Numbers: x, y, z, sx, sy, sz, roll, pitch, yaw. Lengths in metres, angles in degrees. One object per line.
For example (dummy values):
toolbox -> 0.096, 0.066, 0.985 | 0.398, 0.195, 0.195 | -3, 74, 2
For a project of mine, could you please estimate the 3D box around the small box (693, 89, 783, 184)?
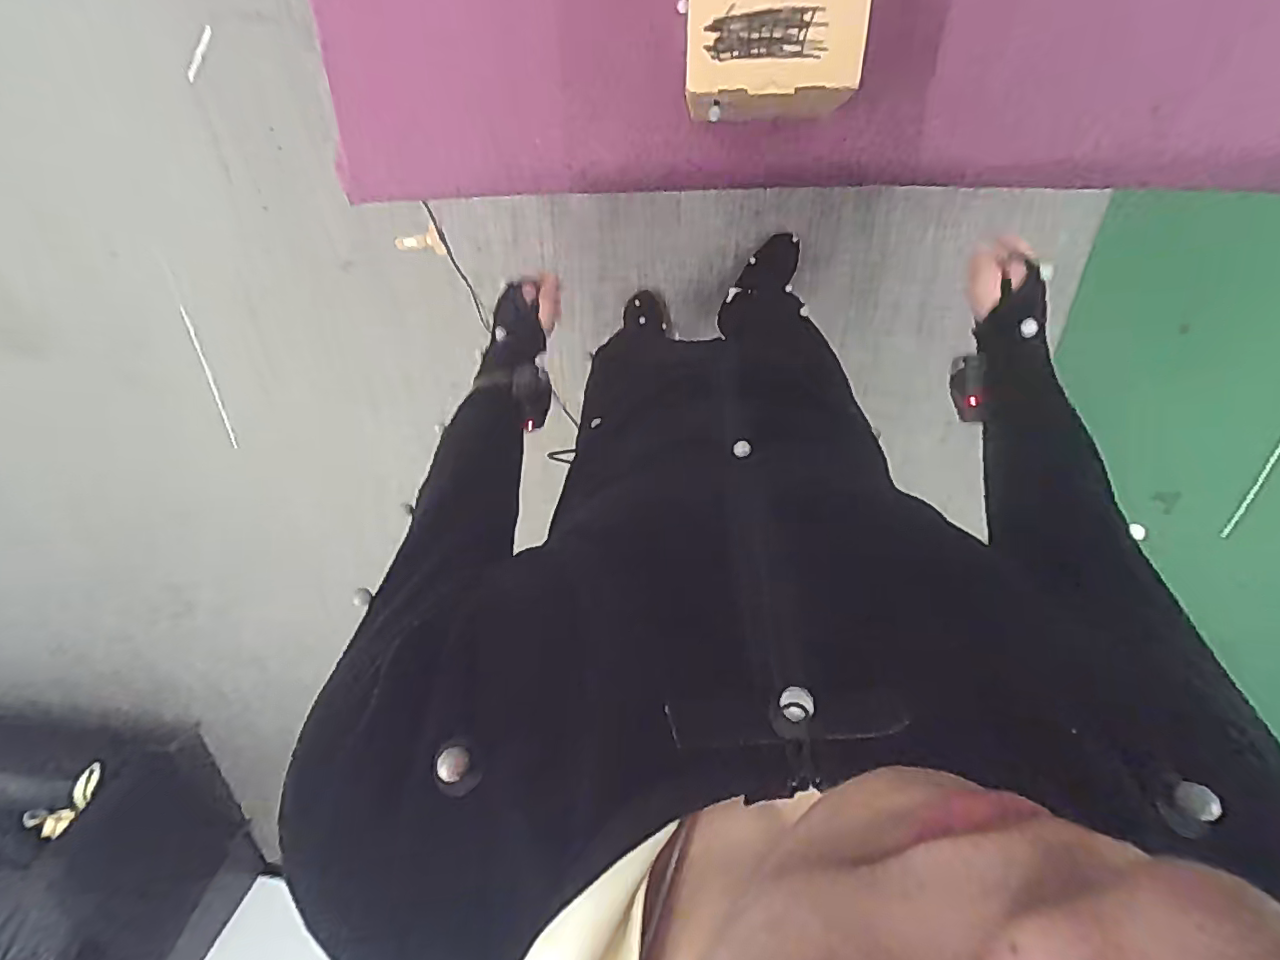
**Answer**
small box -> 0.215, -0.766, 1.217 | 0.179, 0.176, 0.168 | 4, 116, 7

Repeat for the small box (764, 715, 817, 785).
small box -> 0.571, 1.031, 2.074 | 0.168, 0.176, 0.179 | 3, 117, 7
